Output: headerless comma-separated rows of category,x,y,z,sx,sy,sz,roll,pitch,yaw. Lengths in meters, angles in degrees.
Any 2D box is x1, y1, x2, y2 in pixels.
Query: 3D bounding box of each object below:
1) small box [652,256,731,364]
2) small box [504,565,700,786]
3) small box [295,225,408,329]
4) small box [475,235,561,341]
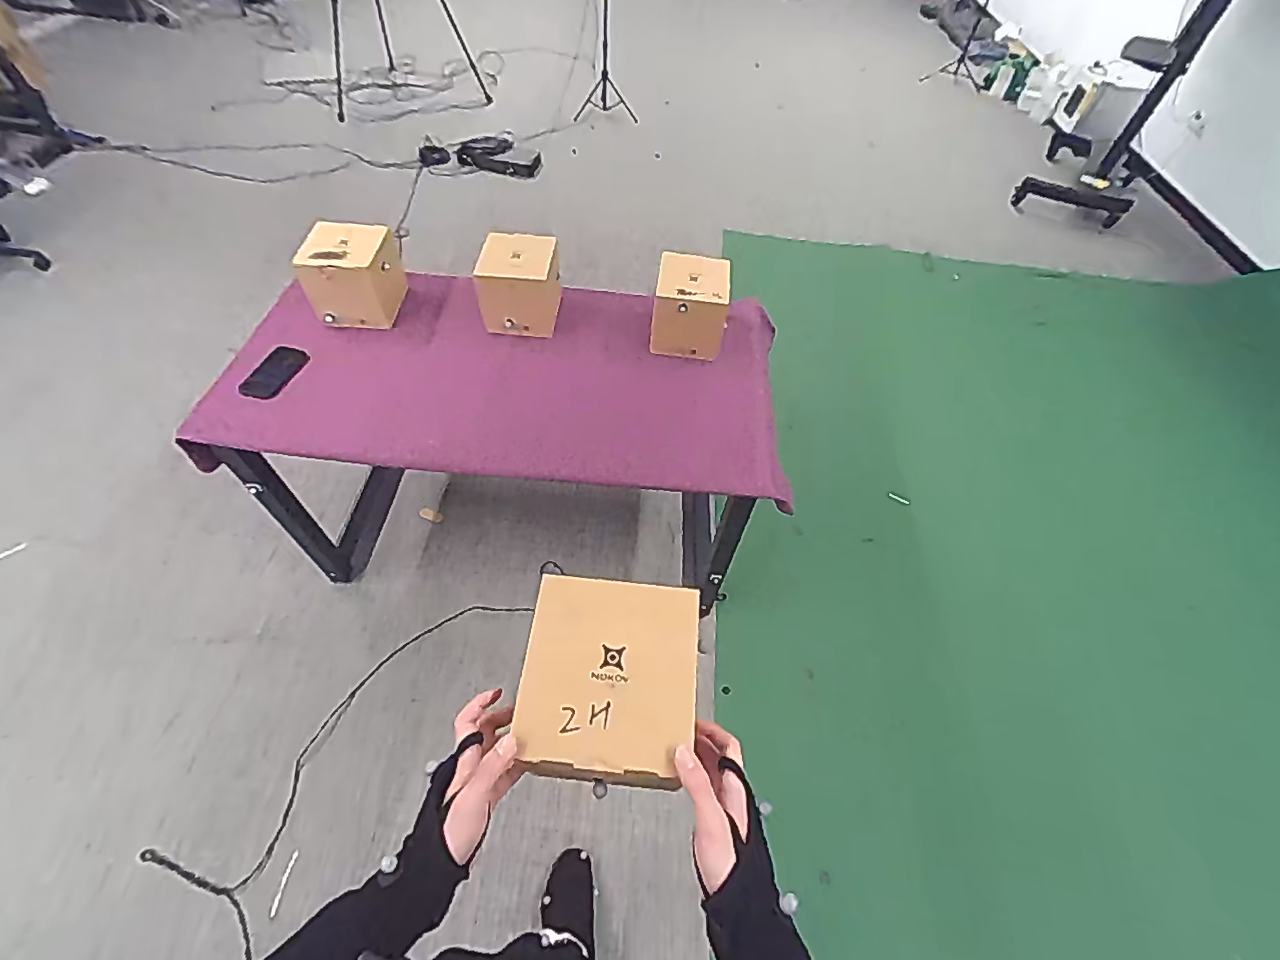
small box,0.121,-0.407,1.302,0.168,0.176,0.179,7,53,2
small box,-0.031,0.212,0.578,0.168,0.176,0.179,6,56,3
small box,-0.674,-0.480,1.287,0.168,0.176,0.179,3,53,-3
small box,-0.286,-0.464,1.311,0.168,0.176,0.179,5,54,0
